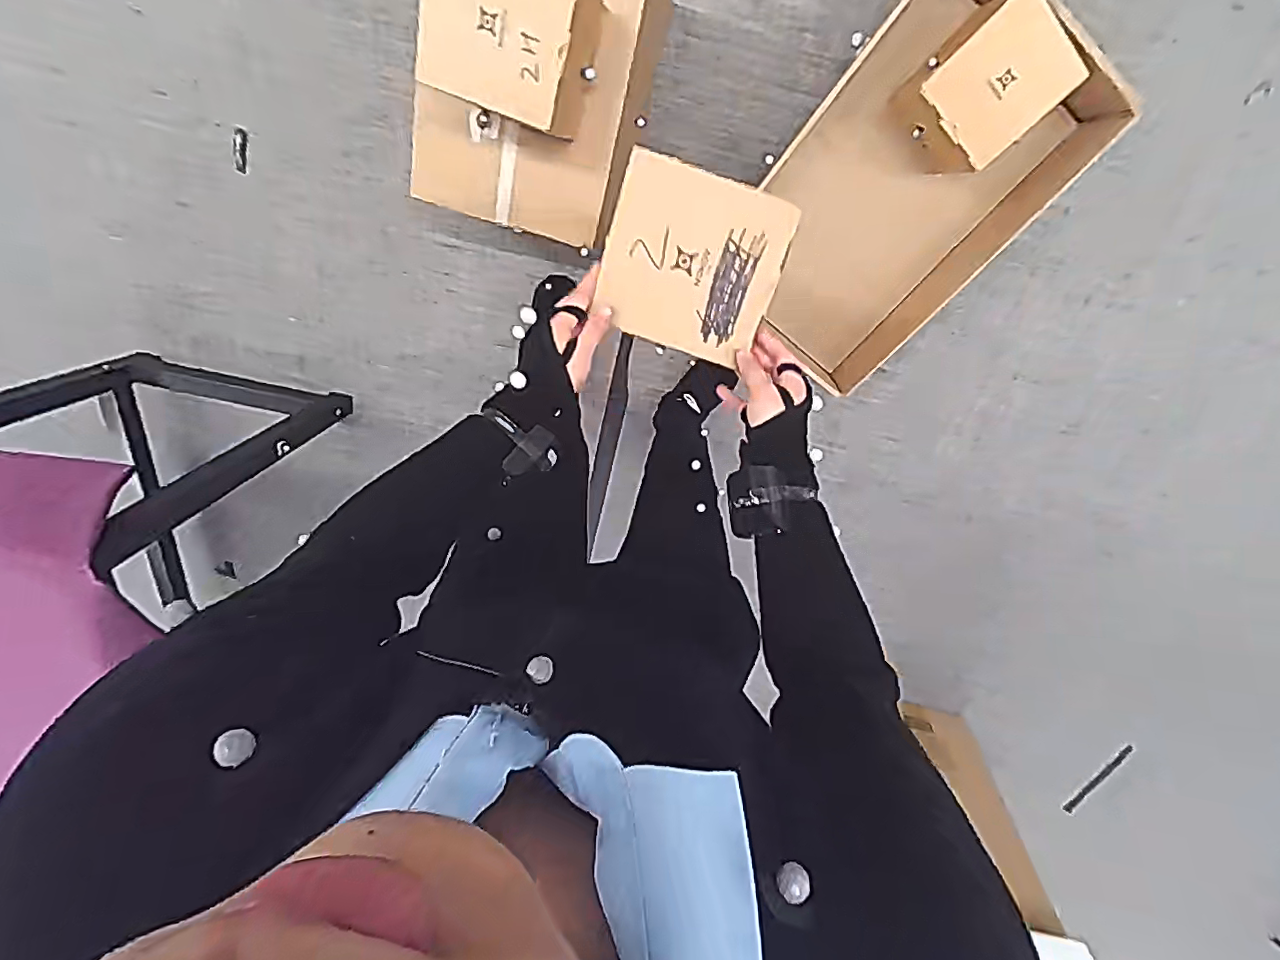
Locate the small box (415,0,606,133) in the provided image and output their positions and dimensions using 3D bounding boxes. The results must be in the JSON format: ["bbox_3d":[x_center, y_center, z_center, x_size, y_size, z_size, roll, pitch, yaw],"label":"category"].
[{"bbox_3d":[-0.157,-0.565,0.690,0.179,0.176,0.168,19,120,-5],"label":"small box"}]

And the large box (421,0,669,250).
[{"bbox_3d":[-0.151,-0.659,0.921,0.320,0.320,0.408,16,120,-1],"label":"large box"}]
